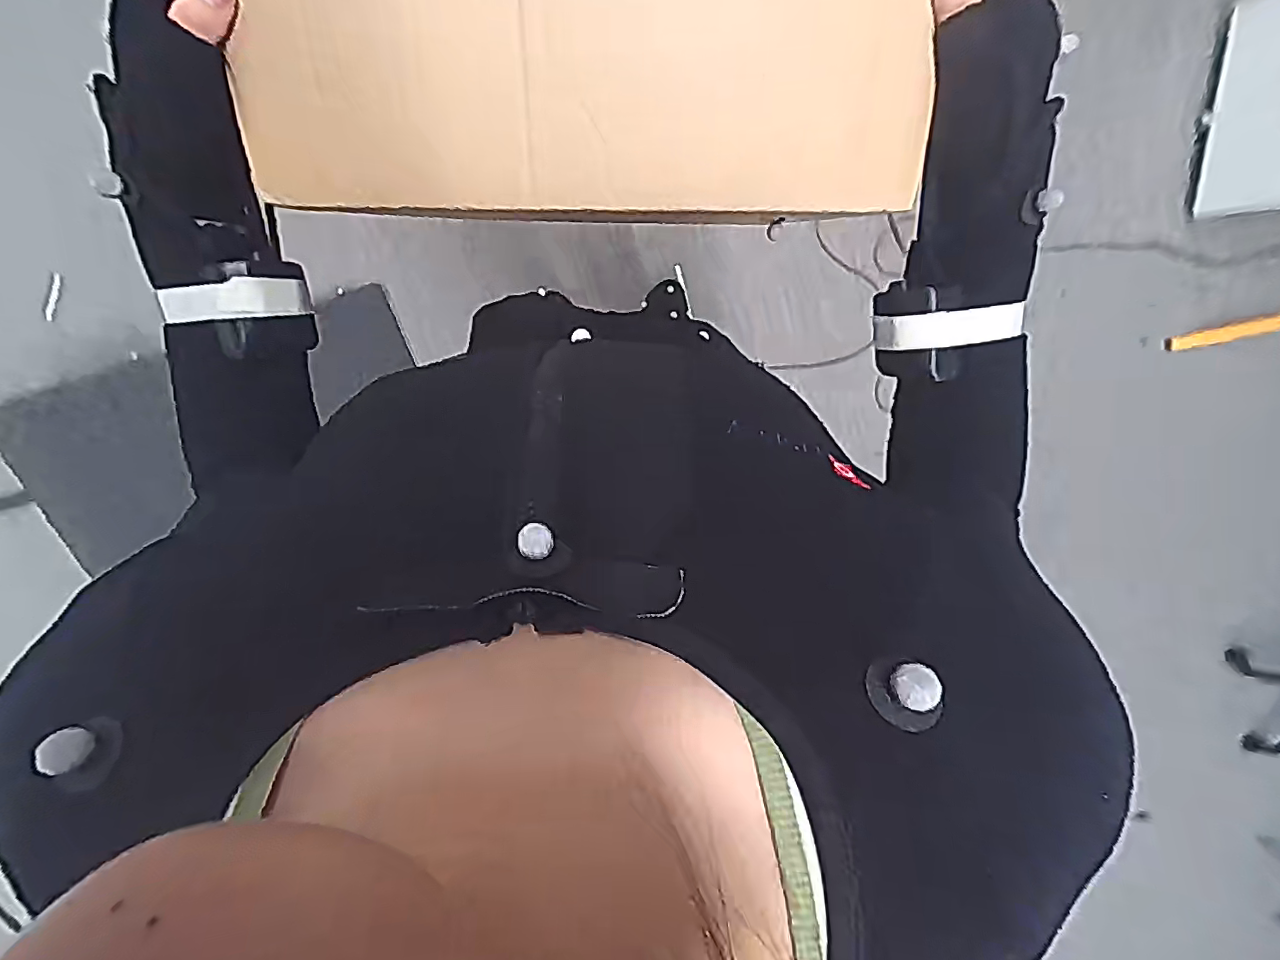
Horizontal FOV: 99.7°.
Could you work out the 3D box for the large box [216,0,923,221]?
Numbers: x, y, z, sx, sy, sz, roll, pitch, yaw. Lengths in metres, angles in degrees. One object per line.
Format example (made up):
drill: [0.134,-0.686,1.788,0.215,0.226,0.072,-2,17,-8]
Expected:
large box: [-0.039,-0.376,0.419,0.408,0.320,0.320,-1,114,-1]
